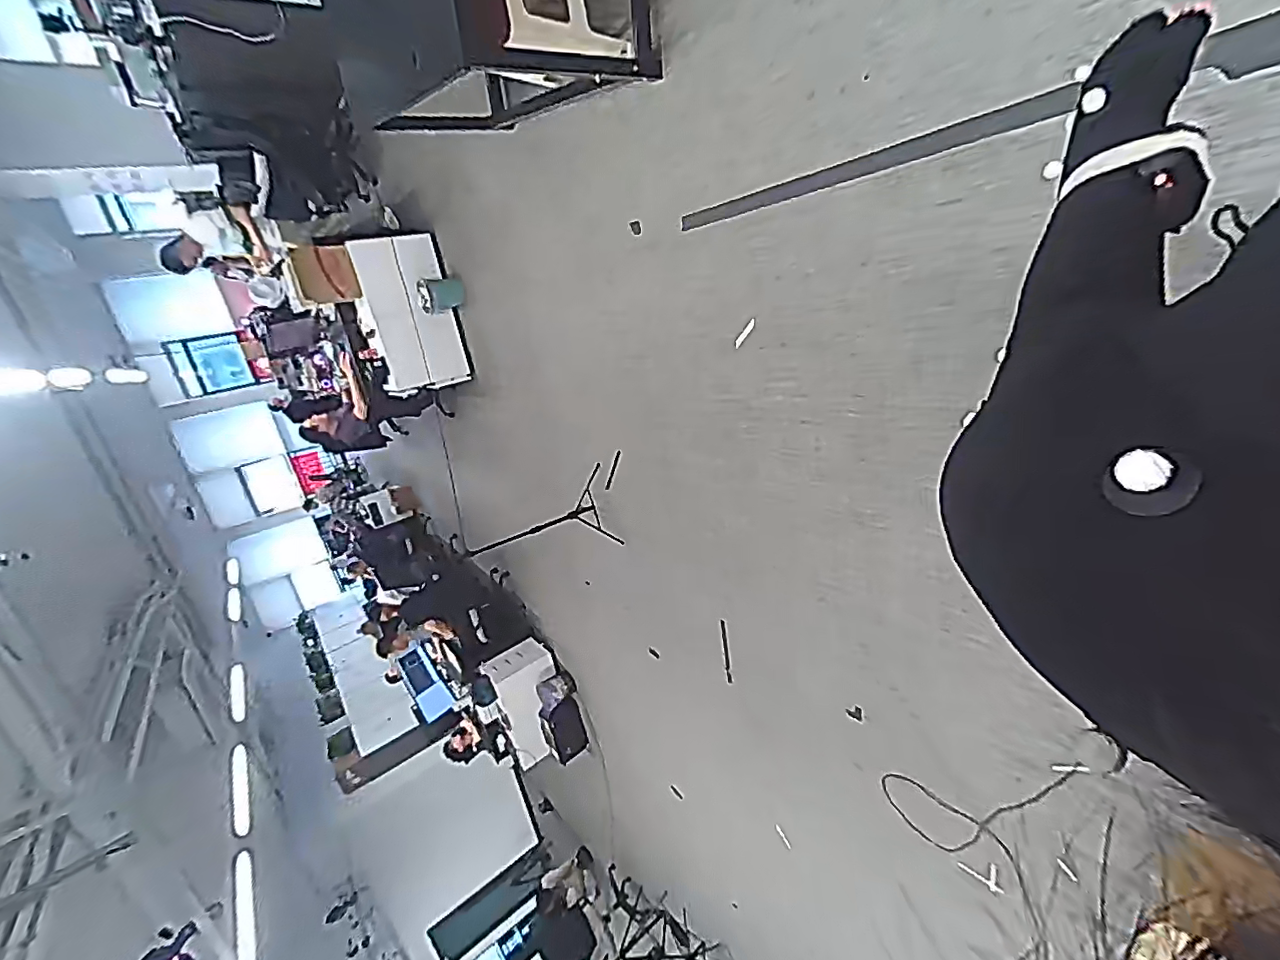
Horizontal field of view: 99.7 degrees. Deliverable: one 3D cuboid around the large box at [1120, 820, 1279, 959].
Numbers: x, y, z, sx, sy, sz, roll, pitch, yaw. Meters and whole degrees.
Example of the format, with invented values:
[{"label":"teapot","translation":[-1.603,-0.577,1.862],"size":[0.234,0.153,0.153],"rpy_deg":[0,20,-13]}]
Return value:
[{"label":"large box","translation":[1.428,1.112,1.239],"size":[0.408,0.320,0.320],"rpy_deg":[23,128,46]}]
